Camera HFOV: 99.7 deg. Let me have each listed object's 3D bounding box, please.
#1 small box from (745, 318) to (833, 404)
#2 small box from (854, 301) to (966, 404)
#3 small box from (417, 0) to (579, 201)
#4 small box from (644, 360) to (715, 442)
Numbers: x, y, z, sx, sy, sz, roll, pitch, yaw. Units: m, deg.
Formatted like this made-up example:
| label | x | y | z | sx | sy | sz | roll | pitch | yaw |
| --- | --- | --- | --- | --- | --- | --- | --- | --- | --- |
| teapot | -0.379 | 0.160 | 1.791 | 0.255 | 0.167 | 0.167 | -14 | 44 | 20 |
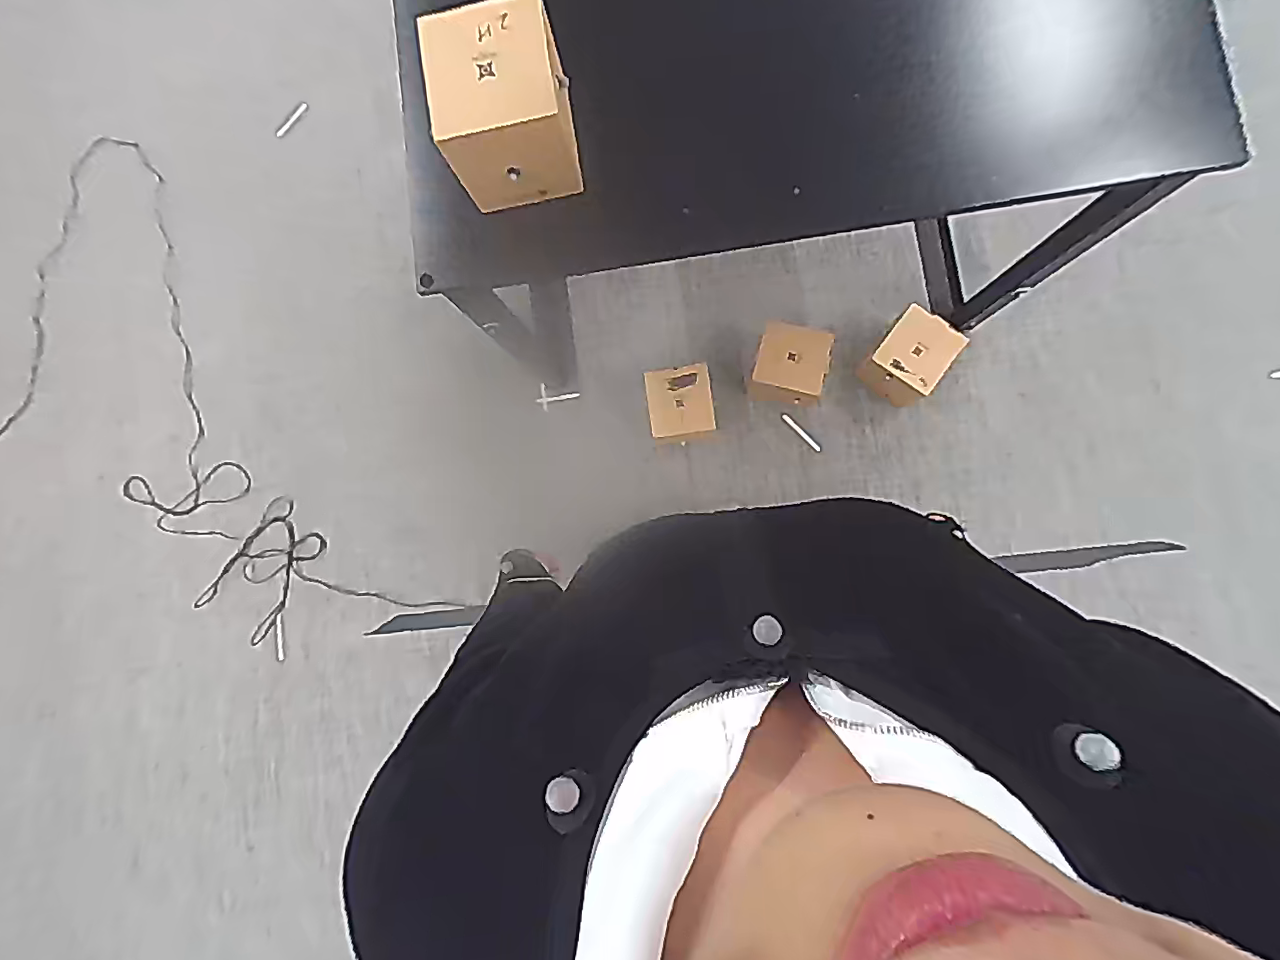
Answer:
| label | x | y | z | sx | sy | sz | roll | pitch | yaw |
| --- | --- | --- | --- | --- | --- | --- | --- | --- | --- |
| small box | 0.389 | -0.309 | 1.438 | 0.179 | 0.176 | 0.168 | 14 | 87 | 7 |
| small box | 0.690 | -0.324 | 1.407 | 0.168 | 0.176 | 0.179 | 36 | 90 | 7 |
| small box | -0.190 | -0.525 | 0.769 | 0.168 | 0.176 | 0.179 | -10 | 85 | 4 |
| small box | 0.106 | -0.207 | 1.456 | 0.168 | 0.176 | 0.179 | -8 | 87 | 5 |
